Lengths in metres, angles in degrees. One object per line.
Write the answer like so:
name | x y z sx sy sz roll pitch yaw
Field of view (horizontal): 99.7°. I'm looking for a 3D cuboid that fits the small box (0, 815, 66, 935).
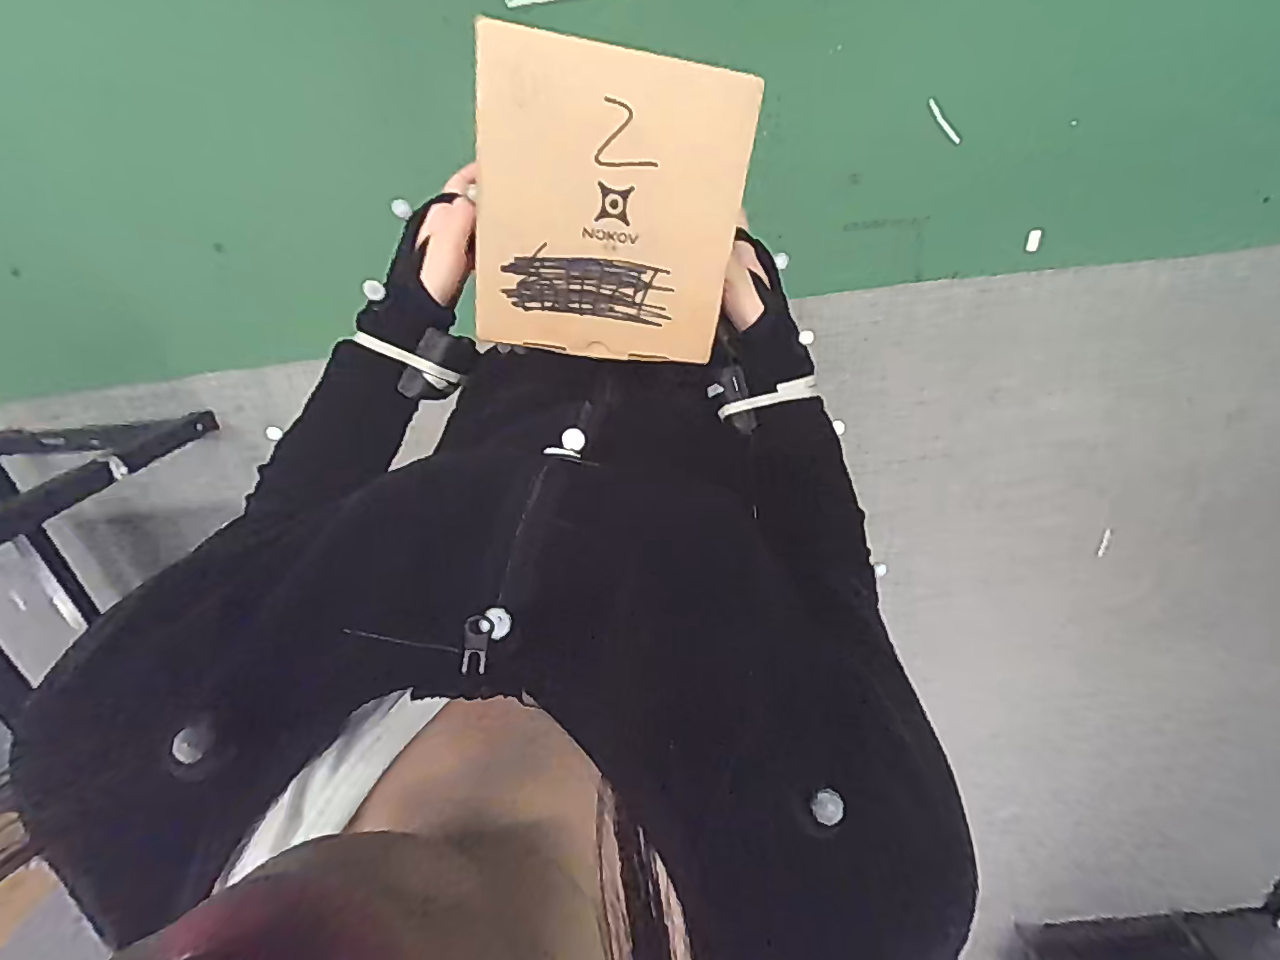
small box | -1.245 0.747 0.990 0.179 0.176 0.168 -4 116 1
